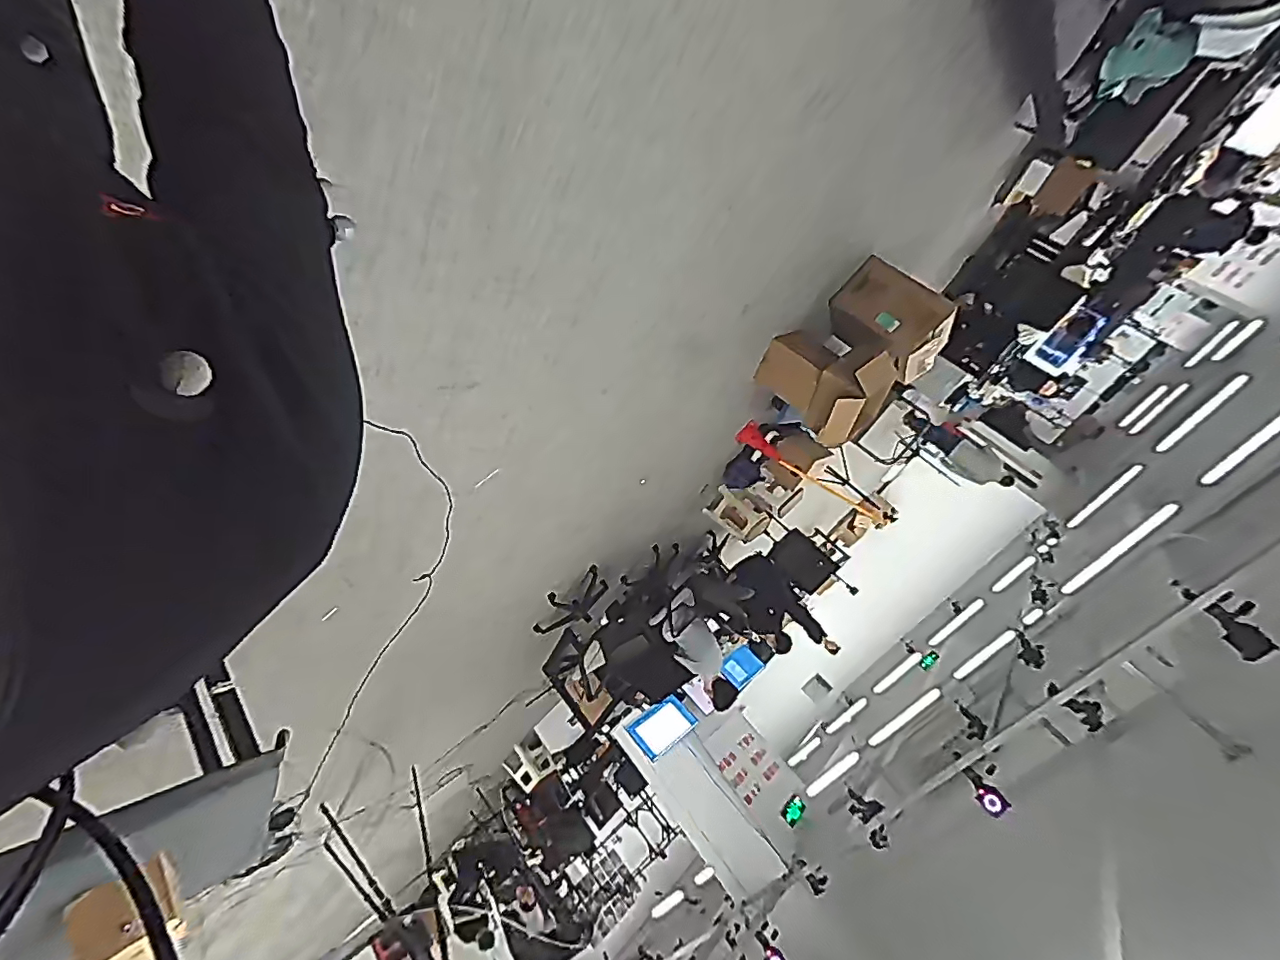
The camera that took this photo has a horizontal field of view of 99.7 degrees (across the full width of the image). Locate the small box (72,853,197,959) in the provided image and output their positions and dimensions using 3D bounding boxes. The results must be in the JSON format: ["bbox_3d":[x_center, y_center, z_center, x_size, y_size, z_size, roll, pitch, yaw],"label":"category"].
[{"bbox_3d":[-1.204,1.044,1.294,0.179,0.176,0.168,-19,144,-42],"label":"small box"}]
